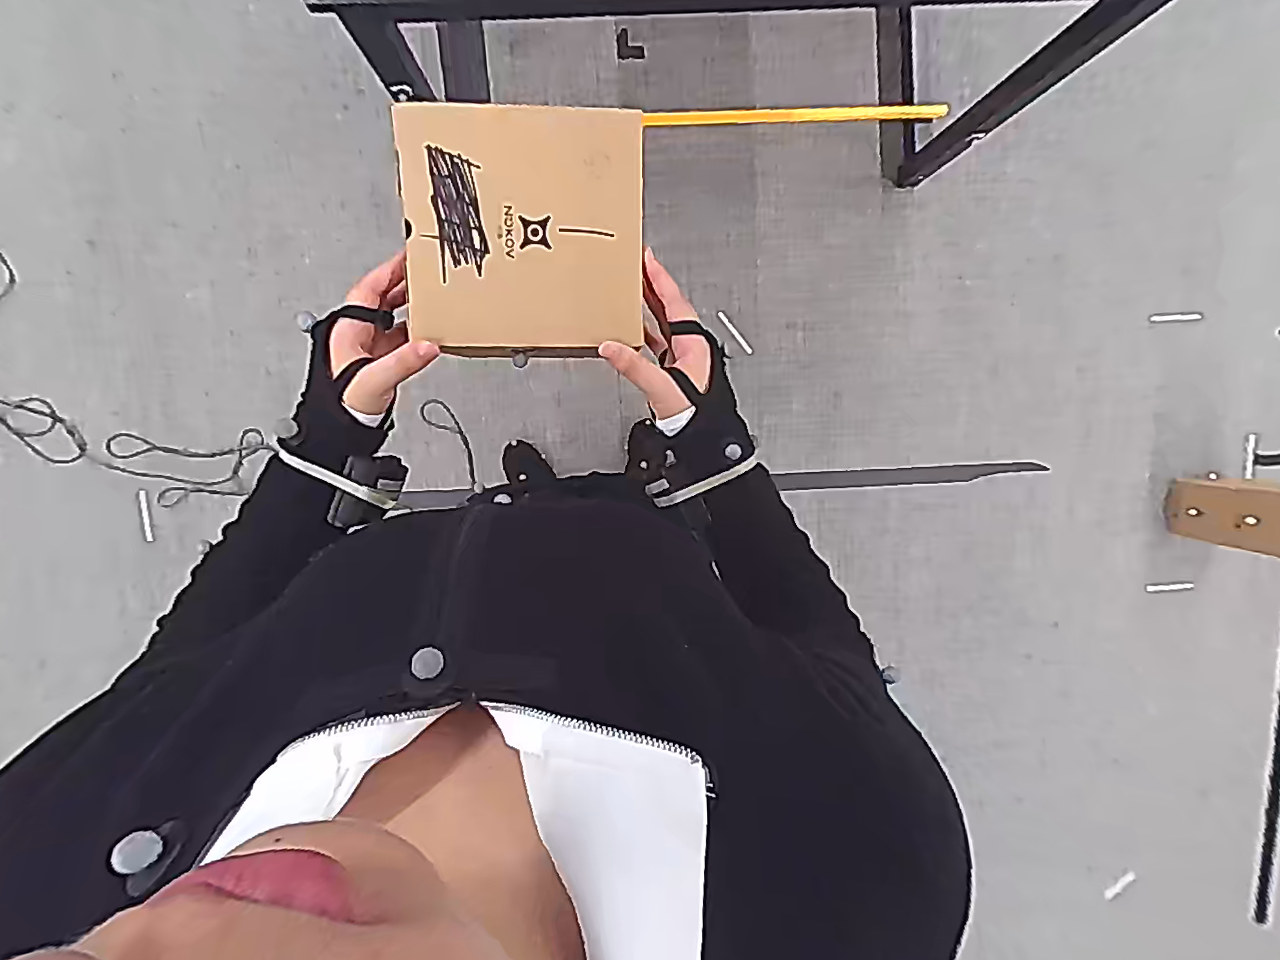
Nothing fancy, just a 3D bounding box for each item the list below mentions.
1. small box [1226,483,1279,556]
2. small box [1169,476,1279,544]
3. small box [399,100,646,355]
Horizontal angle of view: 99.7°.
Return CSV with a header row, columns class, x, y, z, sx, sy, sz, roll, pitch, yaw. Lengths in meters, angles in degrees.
class,x,y,z,sx,sy,sz,roll,pitch,yaw
small box,1.666,0.100,1.368,0.179,0.176,0.168,-2,97,-3
small box,1.664,0.081,1.533,0.179,0.176,0.168,-4,98,-2
small box,-0.087,-0.197,0.472,0.179,0.176,0.168,-1,100,-4
